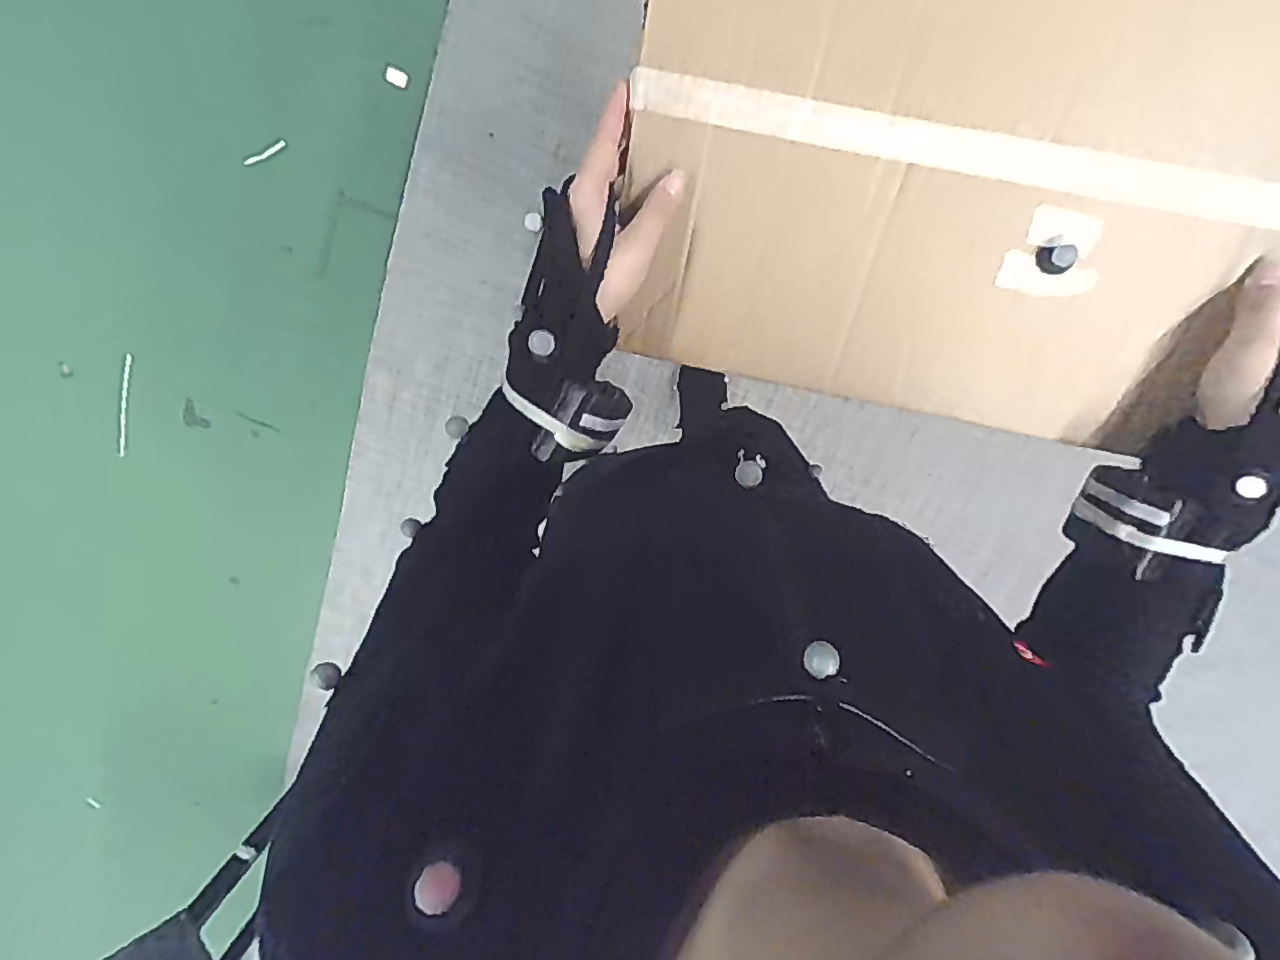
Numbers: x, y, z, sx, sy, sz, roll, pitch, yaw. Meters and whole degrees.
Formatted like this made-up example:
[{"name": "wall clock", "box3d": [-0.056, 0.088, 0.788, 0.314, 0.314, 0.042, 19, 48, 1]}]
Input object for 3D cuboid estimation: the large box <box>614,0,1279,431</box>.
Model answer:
[{"name": "large box", "box3d": [0.209, -0.264, 0.458, 0.408, 0.320, 0.320, 11, 116, 1]}]
